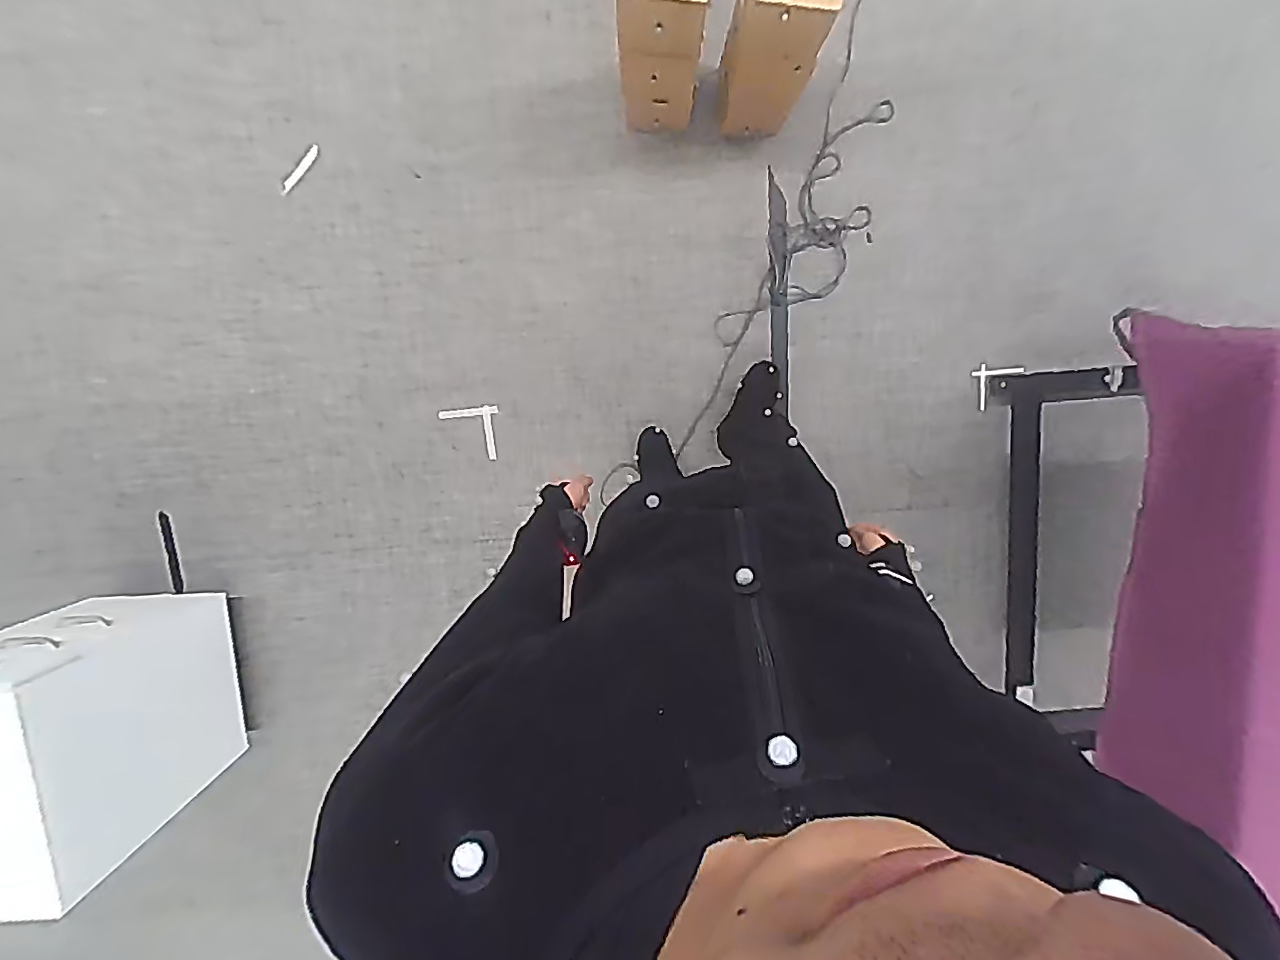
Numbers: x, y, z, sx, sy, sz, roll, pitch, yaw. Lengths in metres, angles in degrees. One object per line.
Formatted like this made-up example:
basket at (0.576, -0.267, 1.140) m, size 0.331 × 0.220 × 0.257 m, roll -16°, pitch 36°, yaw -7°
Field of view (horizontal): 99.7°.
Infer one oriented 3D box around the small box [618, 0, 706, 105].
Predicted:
small box at (0.046, -0.990, 1.231) m, size 0.179 × 0.176 × 0.168 m, roll 6°, pitch 97°, yaw -1°

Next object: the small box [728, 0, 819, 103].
small box at (0.299, -0.996, 1.239) m, size 0.179 × 0.176 × 0.168 m, roll -1°, pitch 98°, yaw 0°

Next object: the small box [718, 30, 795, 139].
small box at (0.296, -1.019, 1.399) m, size 0.168 × 0.176 × 0.179 m, roll -3°, pitch 98°, yaw 0°

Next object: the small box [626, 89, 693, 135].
small box at (0.050, -1.028, 1.392) m, size 0.168 × 0.176 × 0.179 m, roll 2°, pitch 98°, yaw 0°

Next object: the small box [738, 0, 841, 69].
small box at (0.299, -0.972, 1.077) m, size 0.168 × 0.176 × 0.179 m, roll 6°, pitch 97°, yaw -1°
